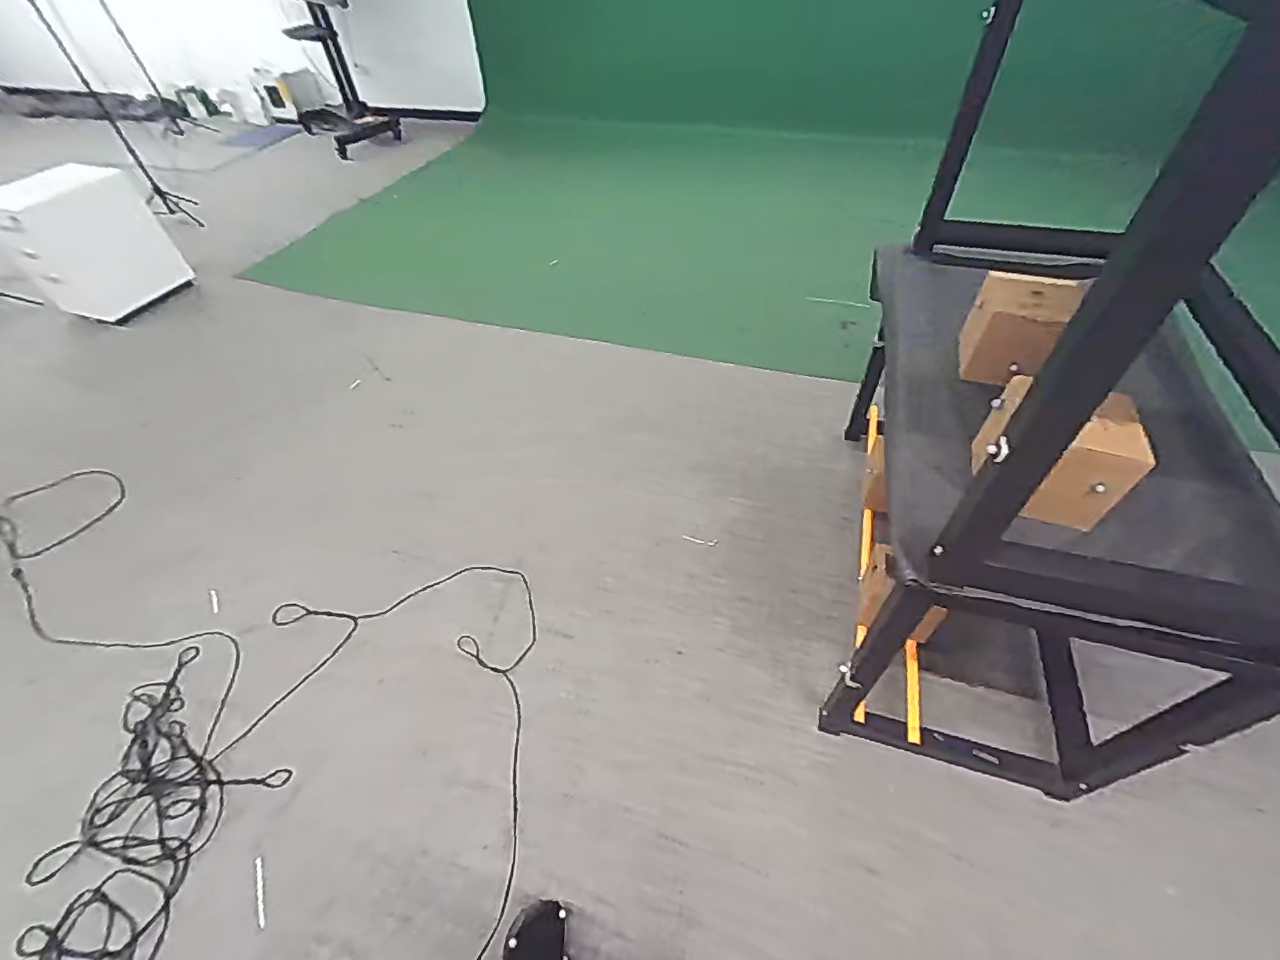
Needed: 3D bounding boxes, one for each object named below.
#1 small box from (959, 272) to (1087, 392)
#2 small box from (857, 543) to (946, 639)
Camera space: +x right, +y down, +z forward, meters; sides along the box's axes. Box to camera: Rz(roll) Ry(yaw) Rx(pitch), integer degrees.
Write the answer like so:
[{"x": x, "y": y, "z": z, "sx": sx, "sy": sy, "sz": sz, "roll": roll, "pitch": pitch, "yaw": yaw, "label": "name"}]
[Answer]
[{"x": 0.799, "y": -0.315, "z": 1.151, "sx": 0.168, "sy": 0.176, "sz": 0.179, "roll": 14, "pitch": 50, "yaw": 15, "label": "small box"}, {"x": 0.690, "y": 0.299, "z": 1.439, "sx": 0.179, "sy": 0.176, "sz": 0.168, "roll": 14, "pitch": 50, "yaw": 15, "label": "small box"}]
